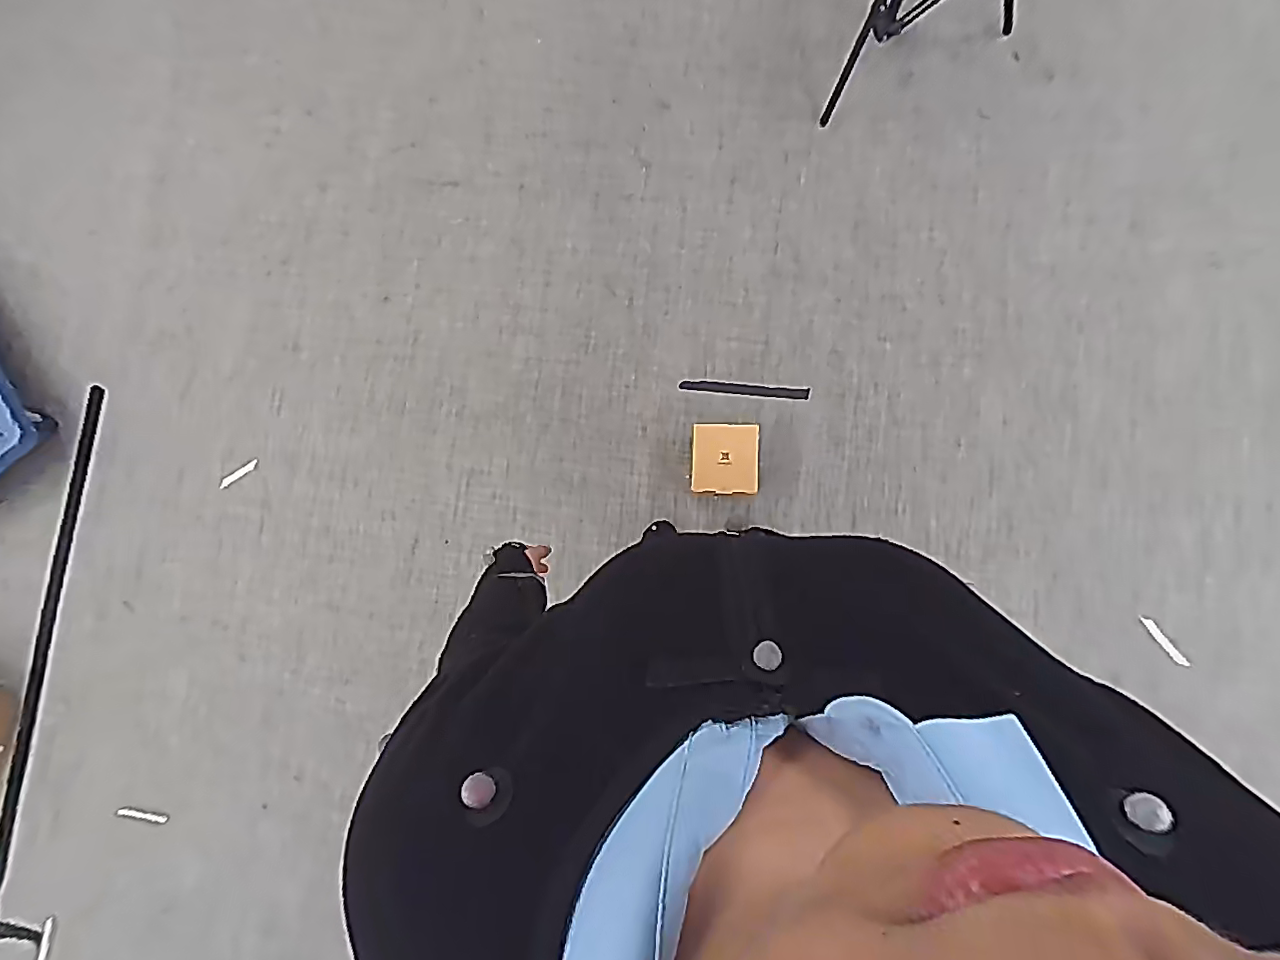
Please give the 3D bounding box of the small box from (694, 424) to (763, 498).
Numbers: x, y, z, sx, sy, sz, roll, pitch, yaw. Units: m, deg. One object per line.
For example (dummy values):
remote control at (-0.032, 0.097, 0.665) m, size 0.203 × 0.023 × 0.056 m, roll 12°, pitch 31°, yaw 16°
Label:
small box at (0.229, -0.046, 1.433) m, size 0.168 × 0.176 × 0.179 m, roll 1°, pitch 85°, yaw 5°
